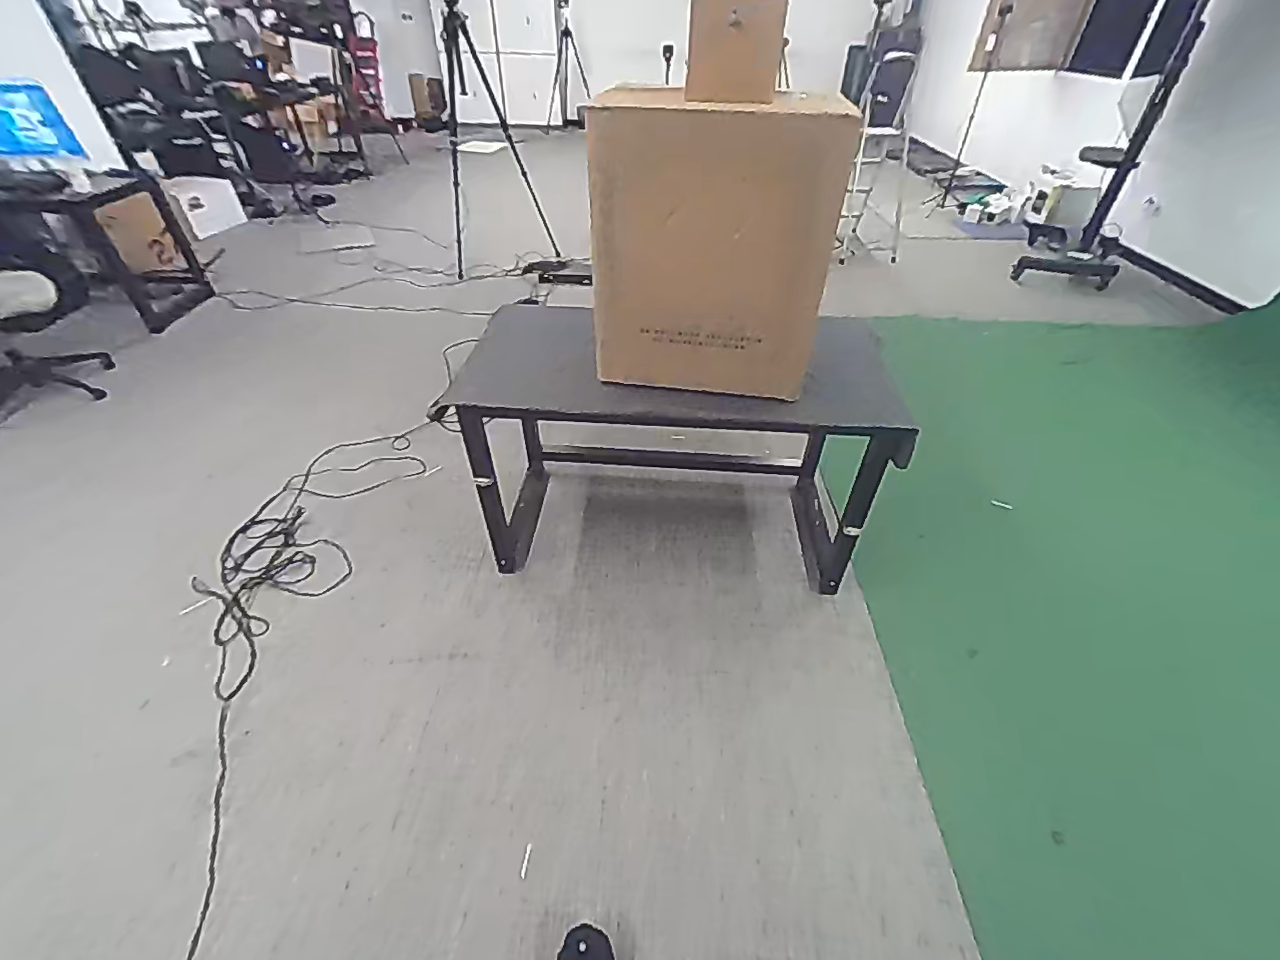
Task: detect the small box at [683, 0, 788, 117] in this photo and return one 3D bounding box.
[{"bbox_3d":[0.184,-0.830,1.066,0.179,0.176,0.168,6,43,6],"label":"small box"}]
